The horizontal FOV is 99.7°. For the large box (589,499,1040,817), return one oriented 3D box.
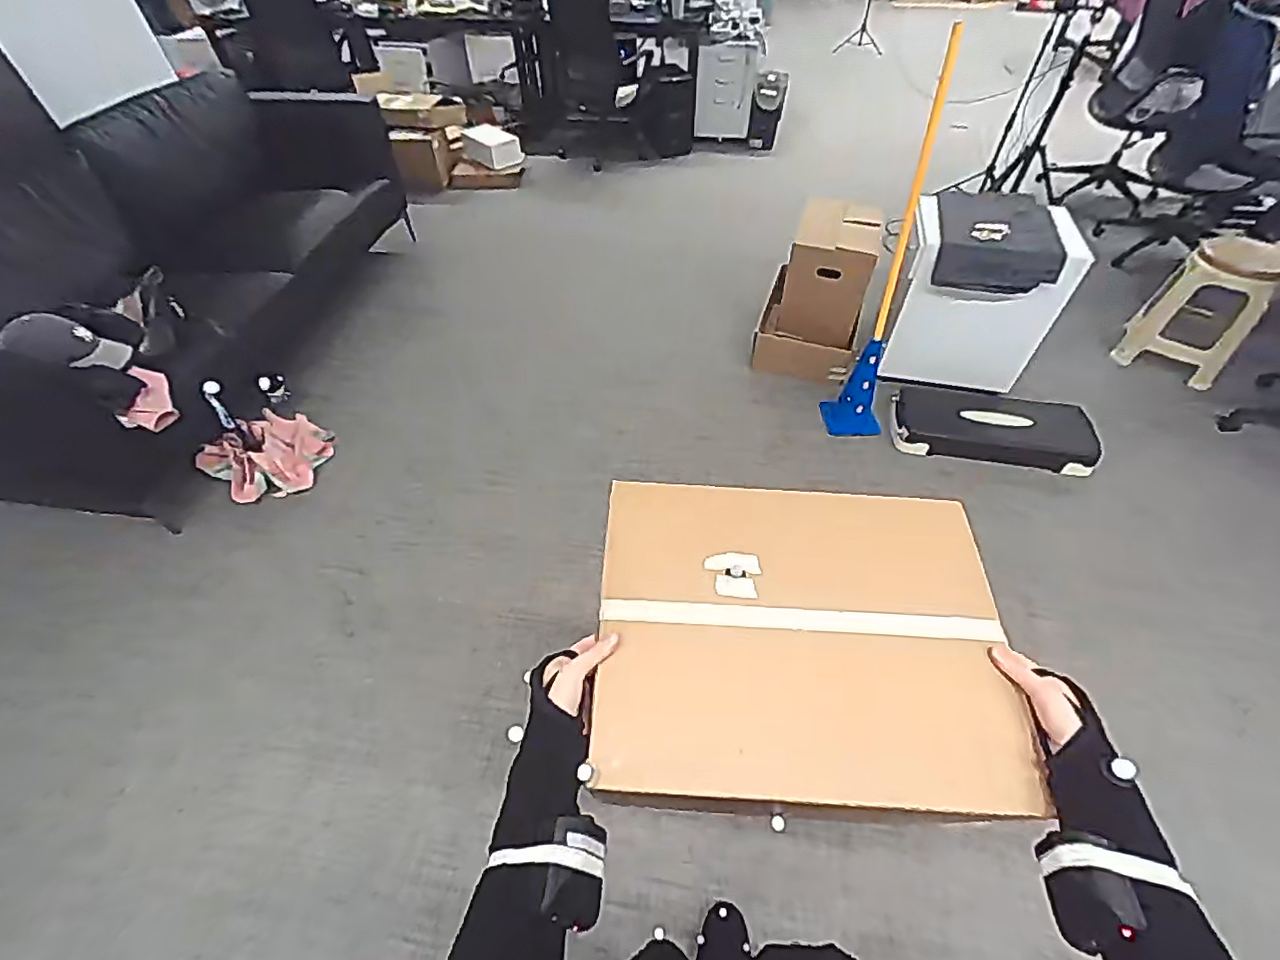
[{"bbox_3d":[0.158,0.236,0.677,0.408,0.320,0.320,2,55,1],"label":"large box"}]
